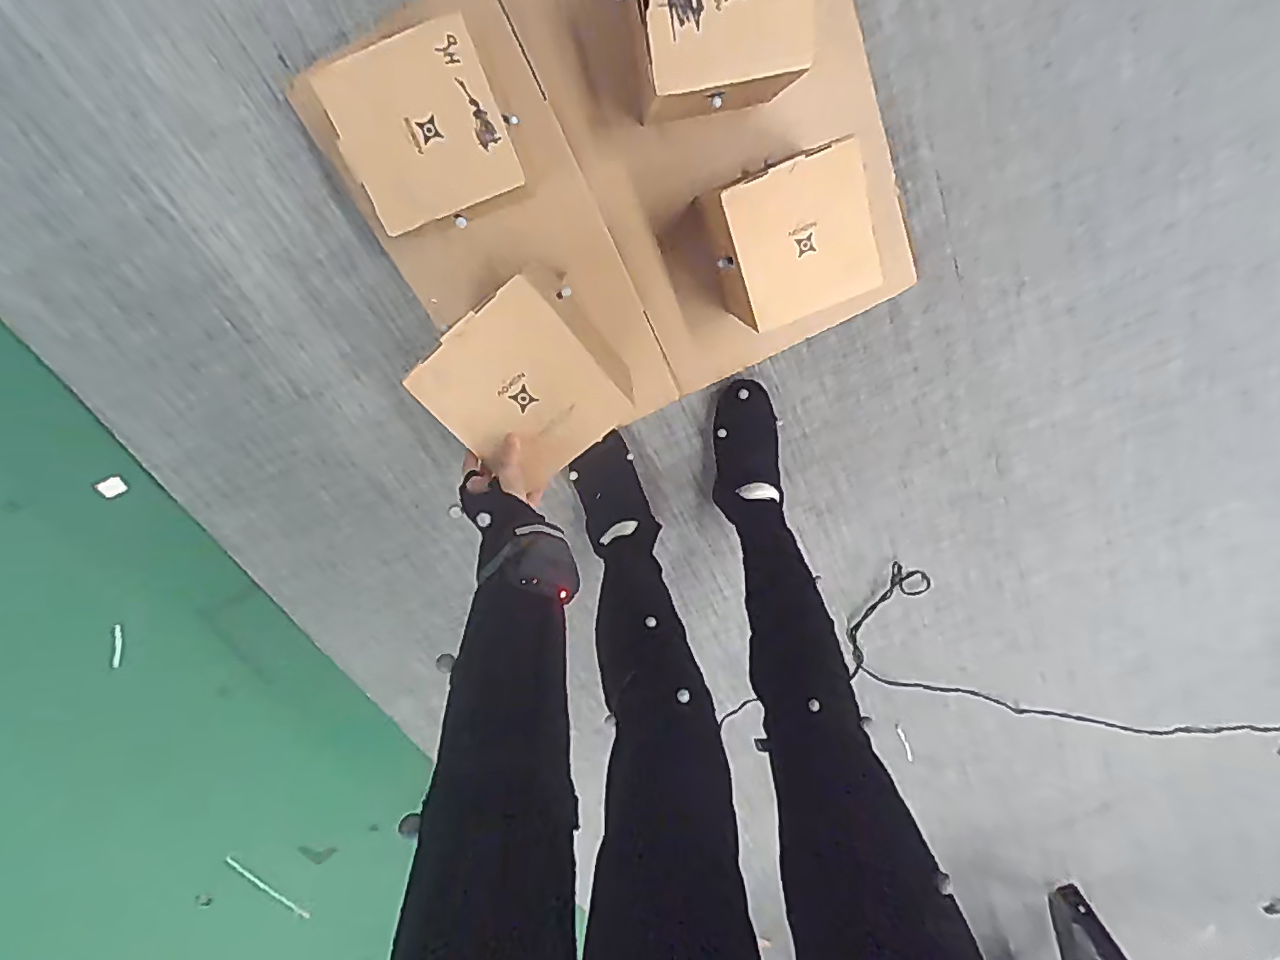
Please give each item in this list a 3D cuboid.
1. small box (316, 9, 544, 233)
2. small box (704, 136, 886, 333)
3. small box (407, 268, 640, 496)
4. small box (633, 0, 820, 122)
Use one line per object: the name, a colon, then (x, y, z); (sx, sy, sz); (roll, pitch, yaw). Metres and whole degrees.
small box: (-0.232, -0.409, 0.653); (0.179, 0.176, 0.168); (-18, 115, 6)
small box: (0.197, -0.319, 0.716); (0.168, 0.176, 0.179); (-21, 114, 6)
small box: (-0.119, -0.120, 0.613); (0.168, 0.176, 0.179); (-36, 113, 14)
small box: (0.087, -0.526, 0.611); (0.179, 0.176, 0.168); (-11, 115, 0)
